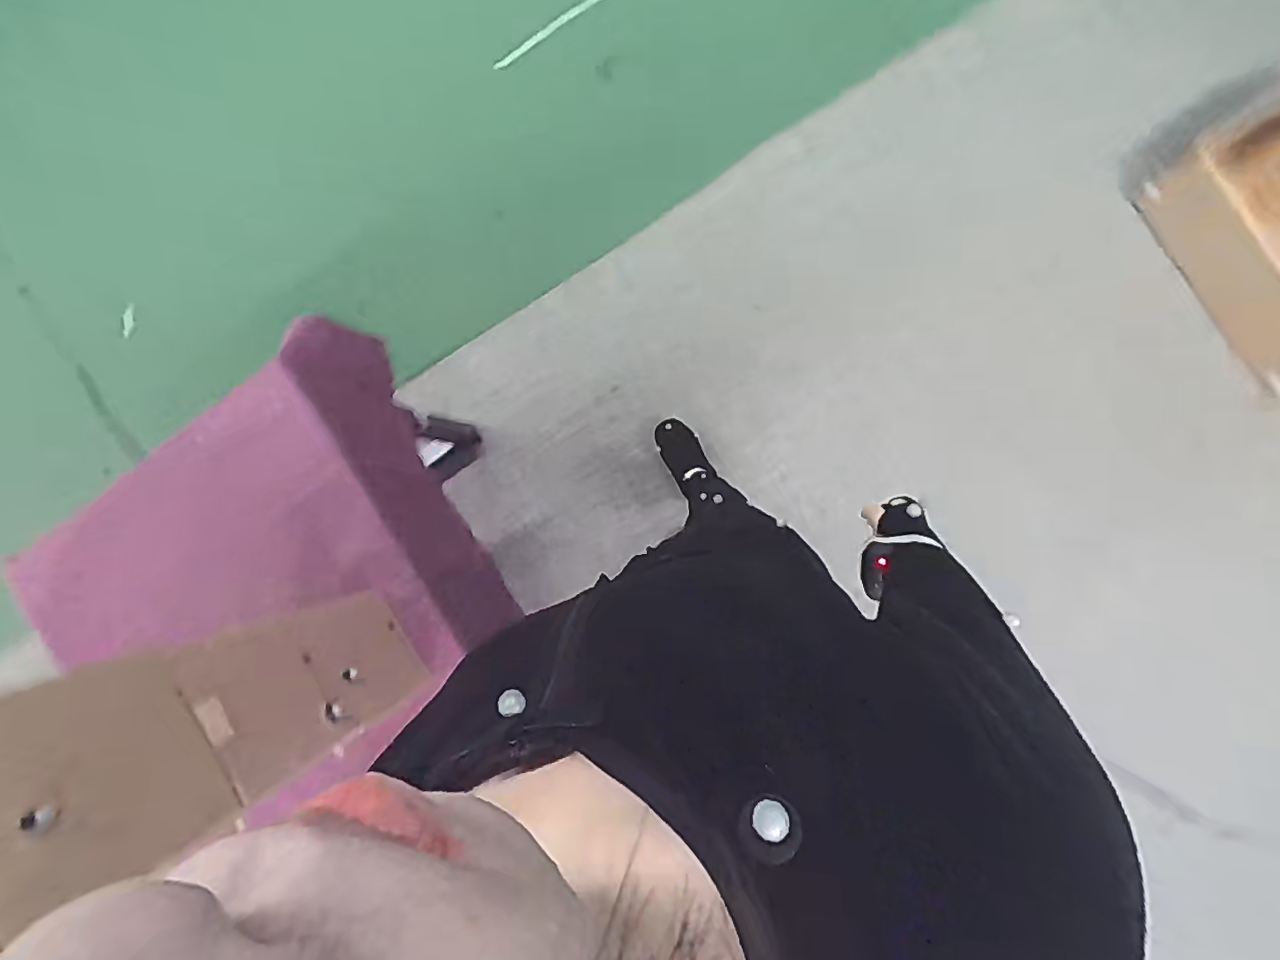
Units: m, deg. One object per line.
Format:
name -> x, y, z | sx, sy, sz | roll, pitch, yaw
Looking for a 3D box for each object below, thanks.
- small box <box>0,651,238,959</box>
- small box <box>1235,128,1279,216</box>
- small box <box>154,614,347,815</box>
small box -> -0.476, 0.267, 0.424 | 0.168, 0.176, 0.179 | -35, 86, 5
small box -> 1.506, -0.731, 1.204 | 0.179, 0.176, 0.168 | -28, 87, 6
small box -> -0.459, 0.272, 0.588 | 0.179, 0.176, 0.168 | -35, 86, 6
